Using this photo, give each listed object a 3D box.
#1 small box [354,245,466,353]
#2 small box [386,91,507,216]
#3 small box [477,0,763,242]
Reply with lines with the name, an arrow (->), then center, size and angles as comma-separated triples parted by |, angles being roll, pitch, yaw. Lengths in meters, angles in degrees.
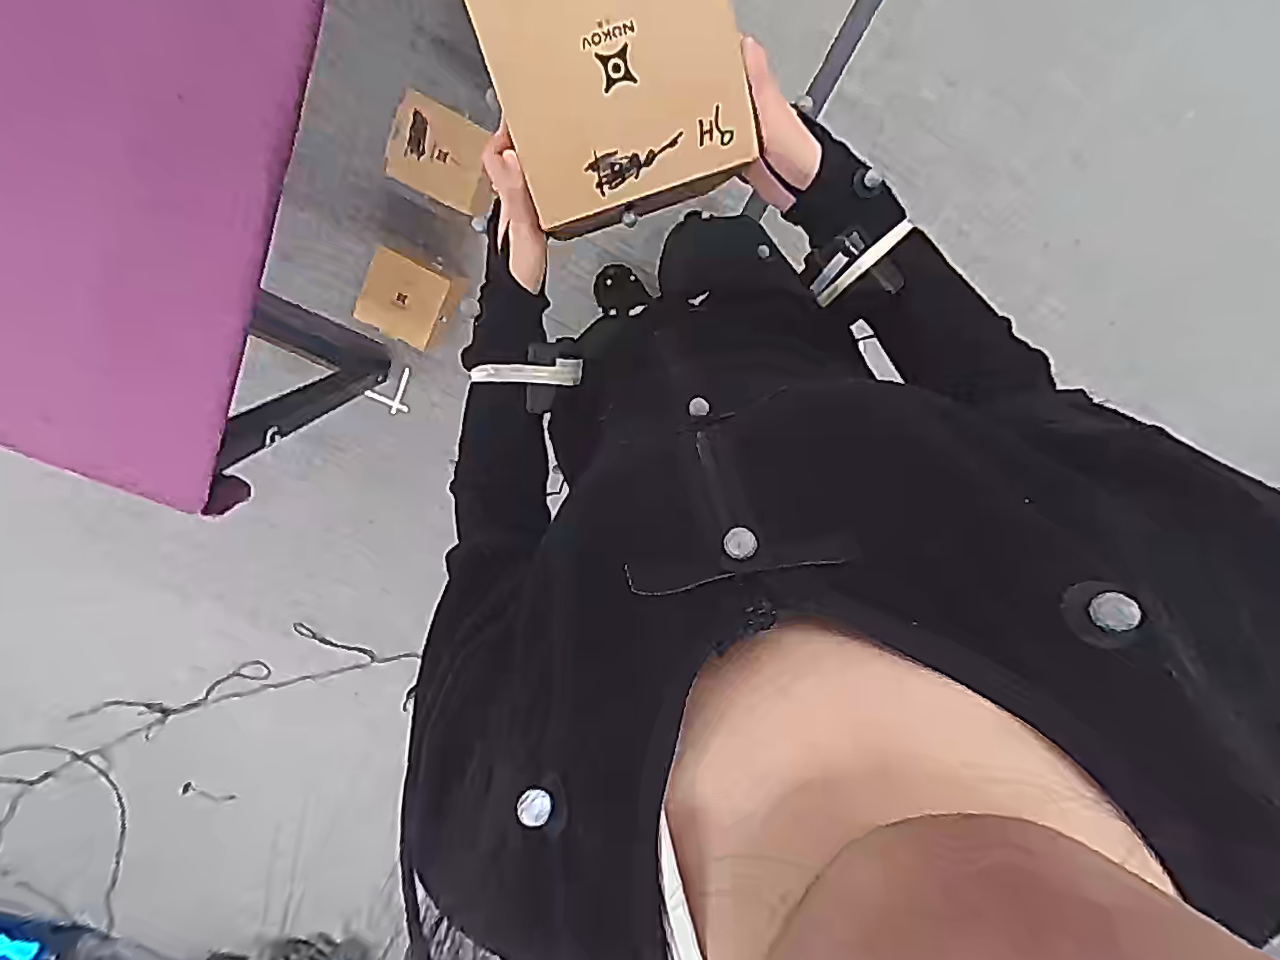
small box -> -0.531, -0.427, 1.270 | 0.168, 0.176, 0.179 | 27, 109, -13
small box -> -0.408, -0.686, 1.163 | 0.179, 0.176, 0.168 | 23, 111, -12
small box -> -0.019, -0.306, 0.429 | 0.168, 0.176, 0.179 | -16, 111, 2
